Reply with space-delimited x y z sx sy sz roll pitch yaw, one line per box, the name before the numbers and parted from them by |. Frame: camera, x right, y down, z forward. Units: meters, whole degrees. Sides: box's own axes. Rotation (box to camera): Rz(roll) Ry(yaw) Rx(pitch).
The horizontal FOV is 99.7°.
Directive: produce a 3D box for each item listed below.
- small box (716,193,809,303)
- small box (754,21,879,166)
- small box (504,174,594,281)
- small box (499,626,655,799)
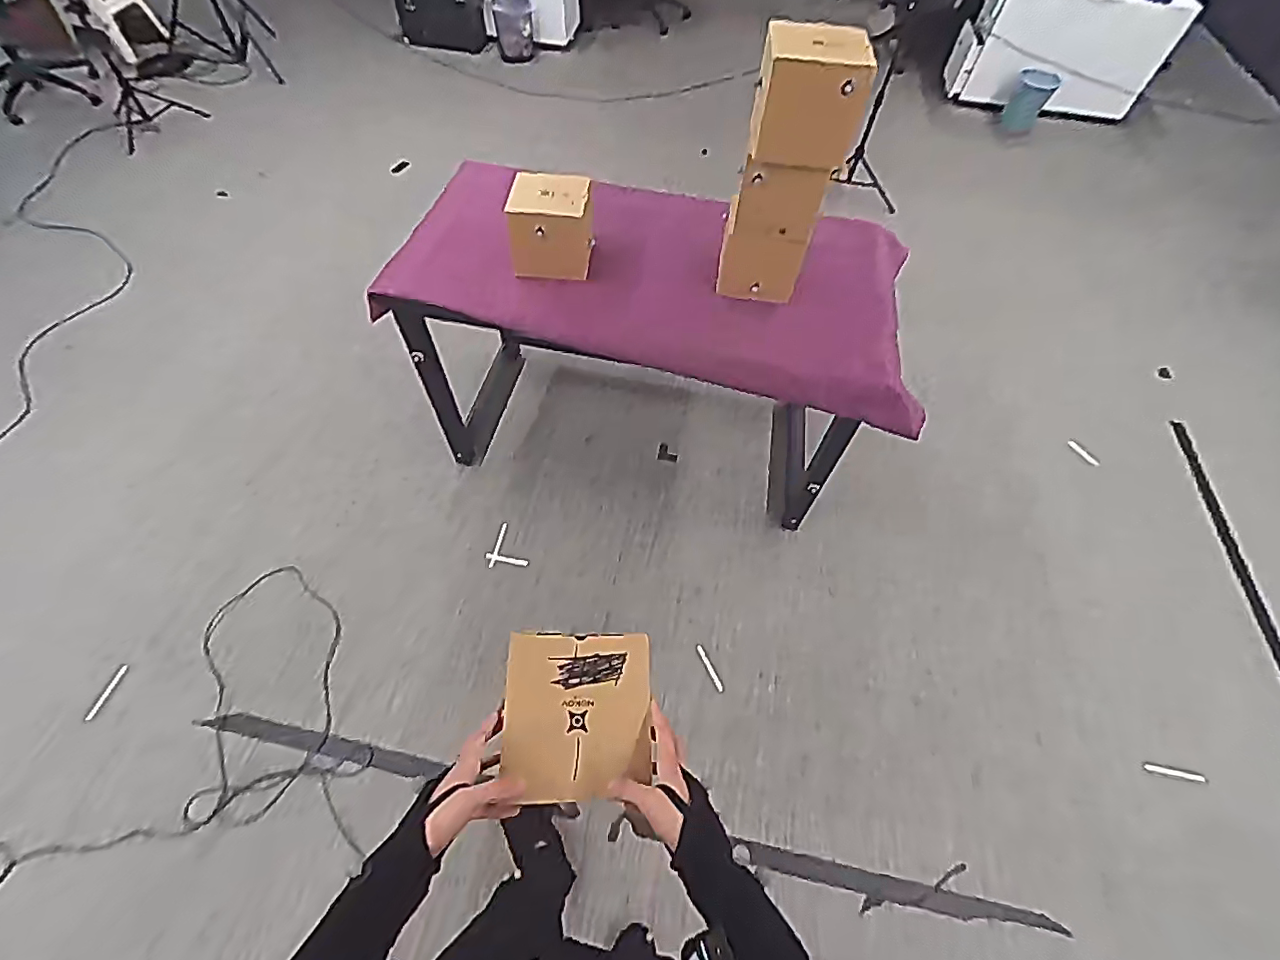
small box | 0.286 -0.541 1.274 0.179 0.176 0.168 9 57 2
small box | 0.307 -0.702 0.988 0.179 0.176 0.168 6 57 1
small box | -0.207 -0.595 1.282 0.179 0.176 0.168 5 57 -1
small box | -0.077 0.286 0.667 0.168 0.176 0.179 3 64 -8
